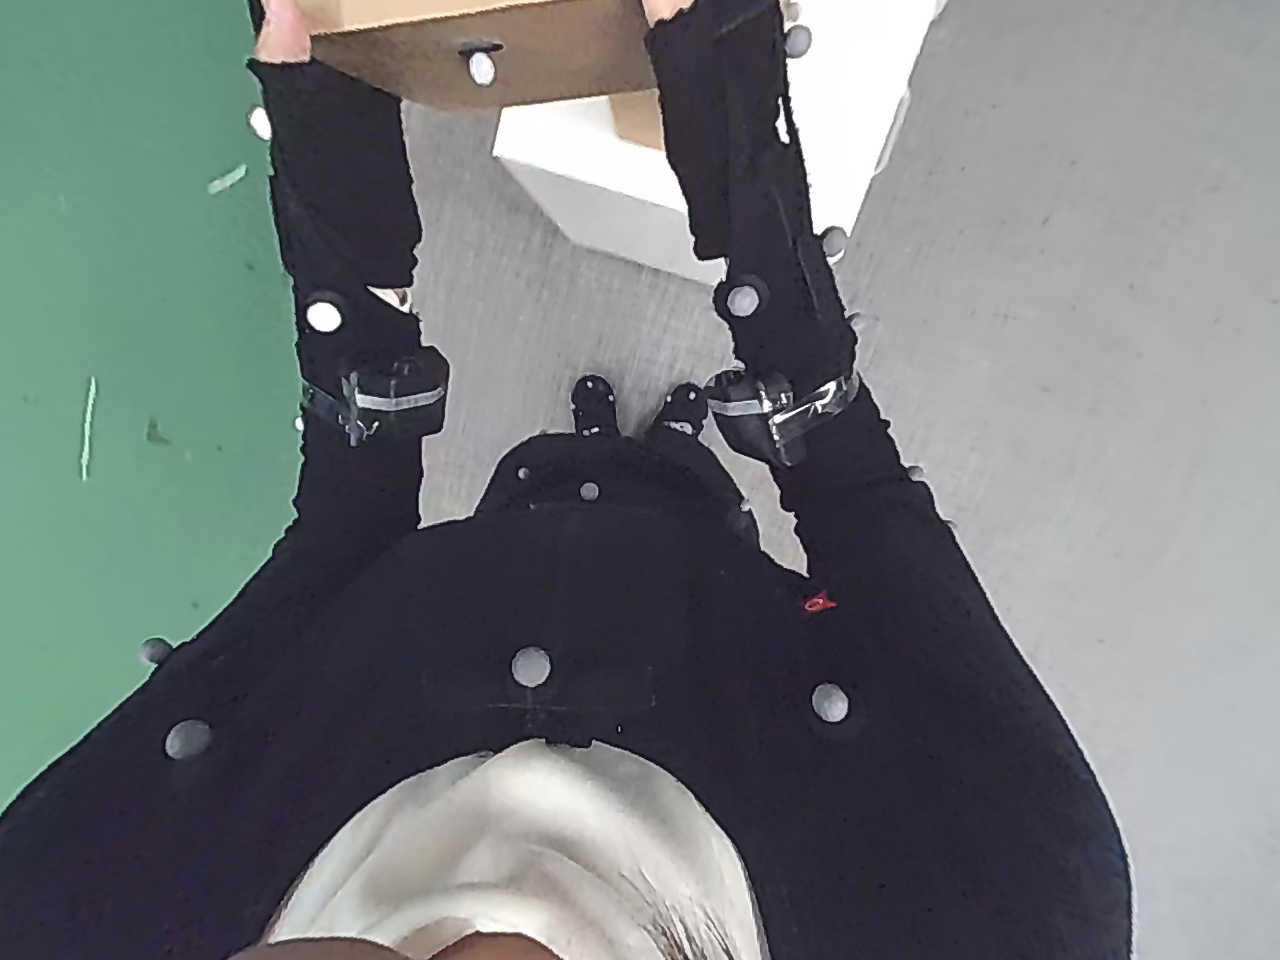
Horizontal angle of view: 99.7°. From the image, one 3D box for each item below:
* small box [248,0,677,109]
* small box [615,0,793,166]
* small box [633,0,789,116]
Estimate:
[{"bbox_3d":[-0.077,-0.299,0.261,0.179,0.176,0.168,-3,115,7],"label":"small box"},{"bbox_3d":[0.070,-0.507,0.646,0.179,0.176,0.168,17,103,0],"label":"small box"},{"bbox_3d":[0.061,-0.477,0.488,0.168,0.176,0.179,16,103,0],"label":"small box"}]
